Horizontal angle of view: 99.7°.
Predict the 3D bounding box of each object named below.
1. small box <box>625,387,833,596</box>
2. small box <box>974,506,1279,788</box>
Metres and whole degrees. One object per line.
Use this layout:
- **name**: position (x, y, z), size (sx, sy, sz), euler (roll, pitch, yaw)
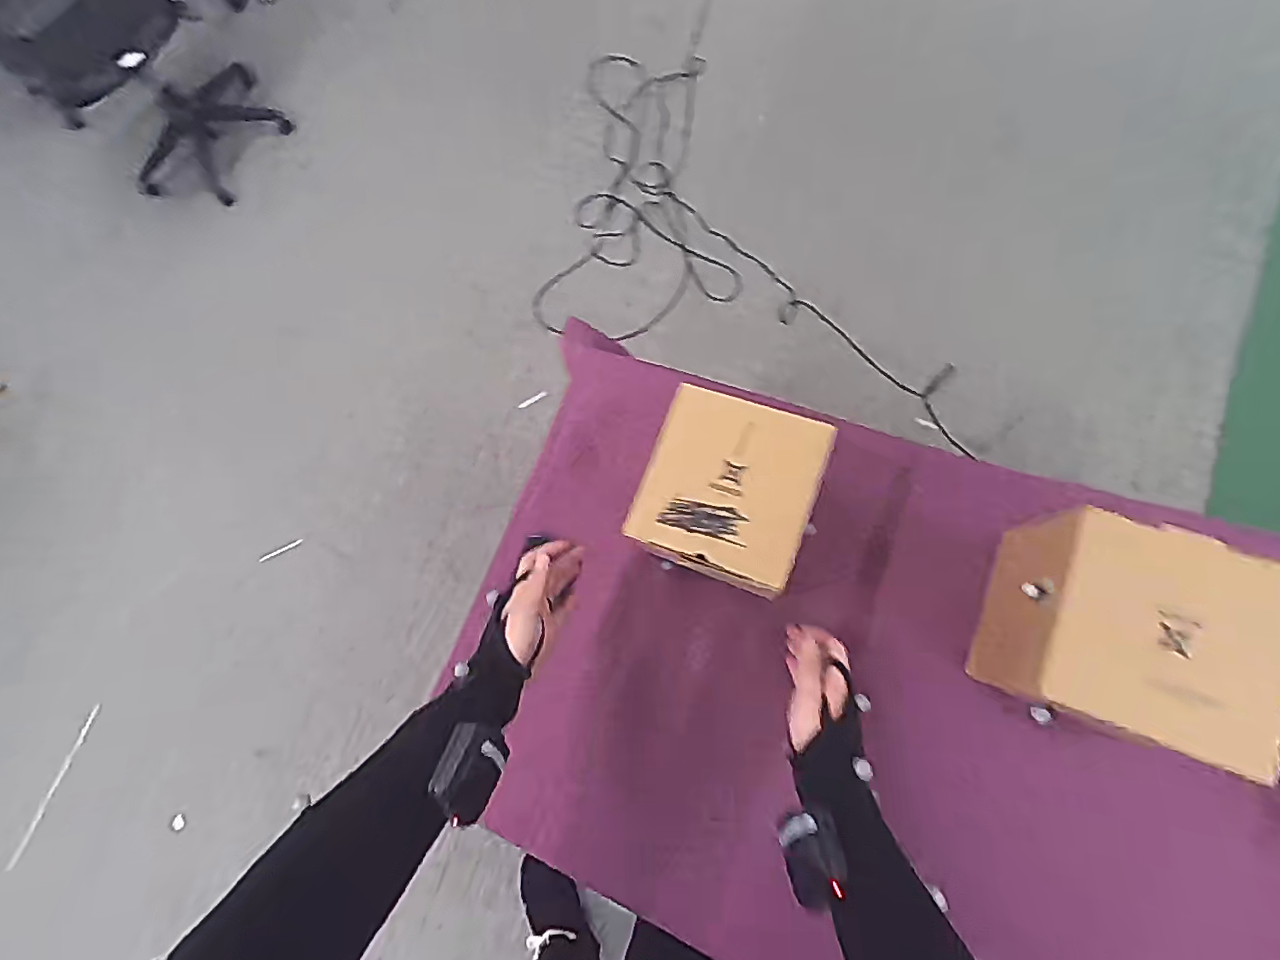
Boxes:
- **small box**: position (0.104, 0.024, 0.616), size (0.168, 0.176, 0.179), euler (19, 79, 15)
- **small box**: position (0.454, 0.147, 0.517), size (0.168, 0.176, 0.179), euler (20, 81, 16)
